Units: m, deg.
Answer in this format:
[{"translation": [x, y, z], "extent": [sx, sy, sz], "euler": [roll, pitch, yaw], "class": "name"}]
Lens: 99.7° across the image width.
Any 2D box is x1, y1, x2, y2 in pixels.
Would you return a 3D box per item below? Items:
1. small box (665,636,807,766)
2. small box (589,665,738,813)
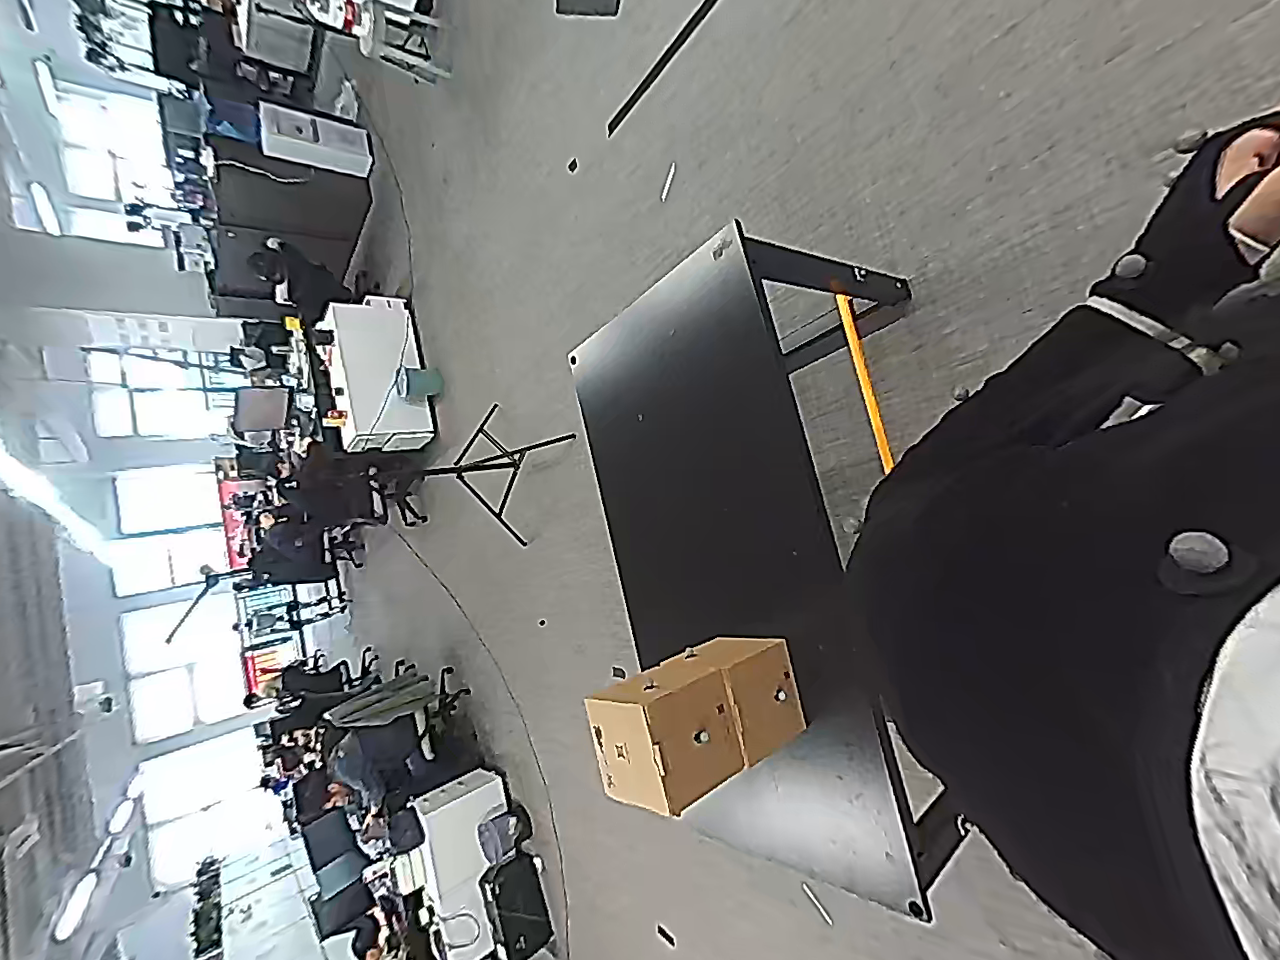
[{"translation": [0.176, 0.396, 1.003], "extent": [0.179, 0.176, 0.168], "euler": [-19, 82, 51], "class": "small box"}, {"translation": [0.045, 0.418, 0.907], "extent": [0.179, 0.176, 0.168], "euler": [-23, 78, 50], "class": "small box"}]
